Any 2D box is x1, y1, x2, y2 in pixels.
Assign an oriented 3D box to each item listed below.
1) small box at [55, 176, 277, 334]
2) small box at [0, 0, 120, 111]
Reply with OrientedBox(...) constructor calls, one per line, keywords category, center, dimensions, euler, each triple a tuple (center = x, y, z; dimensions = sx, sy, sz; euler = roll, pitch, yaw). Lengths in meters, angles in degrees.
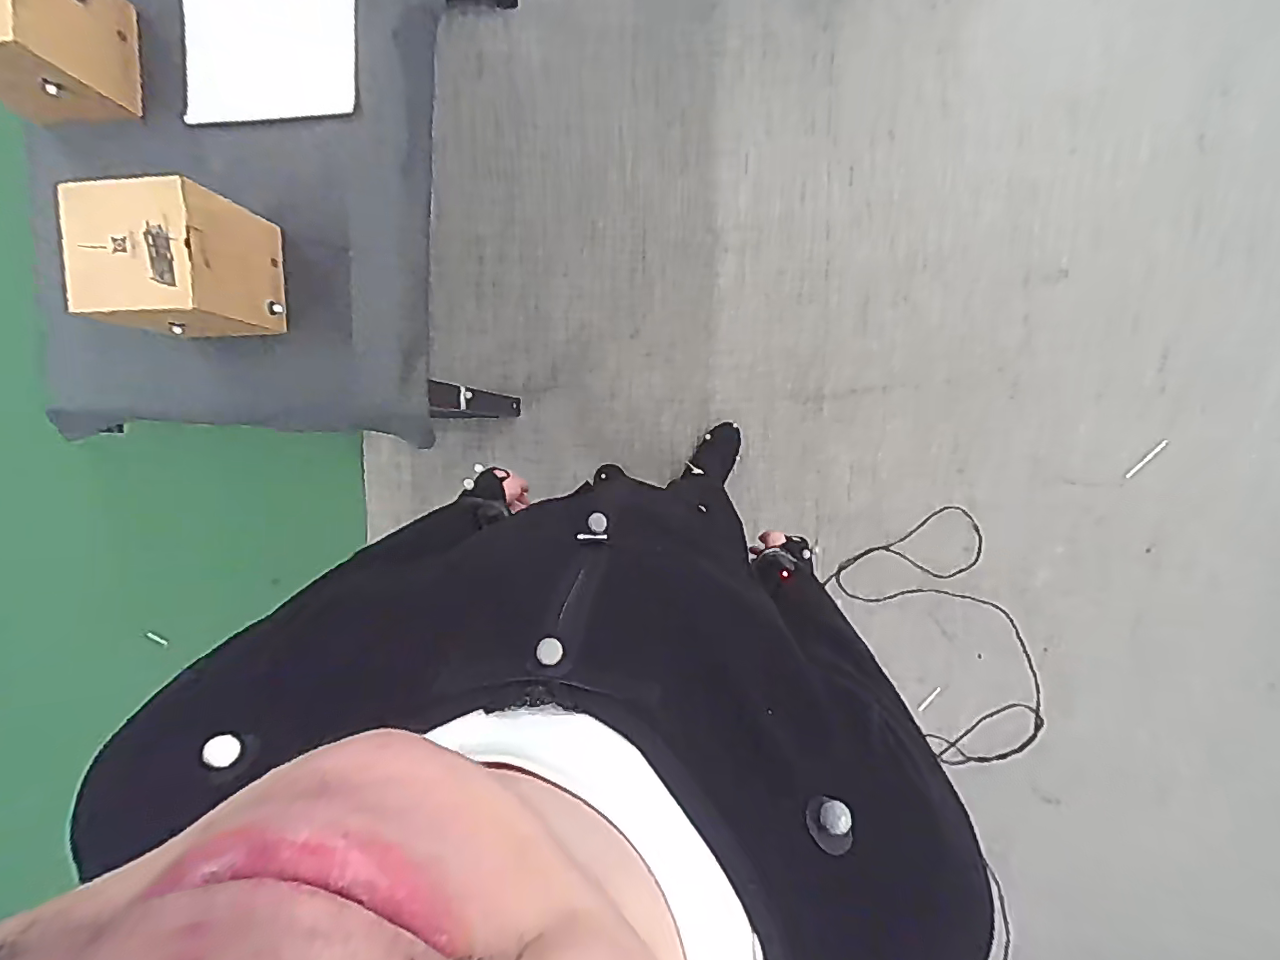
OrientedBox(category="small box", center=(-0.649, -0.306, 0.766), dimensions=(0.179, 0.176, 0.168), euler=(-1, 94, 3))
OrientedBox(category="small box", center=(-0.862, -0.635, 0.735), dimensions=(0.179, 0.176, 0.168), euler=(0, 94, 3))
